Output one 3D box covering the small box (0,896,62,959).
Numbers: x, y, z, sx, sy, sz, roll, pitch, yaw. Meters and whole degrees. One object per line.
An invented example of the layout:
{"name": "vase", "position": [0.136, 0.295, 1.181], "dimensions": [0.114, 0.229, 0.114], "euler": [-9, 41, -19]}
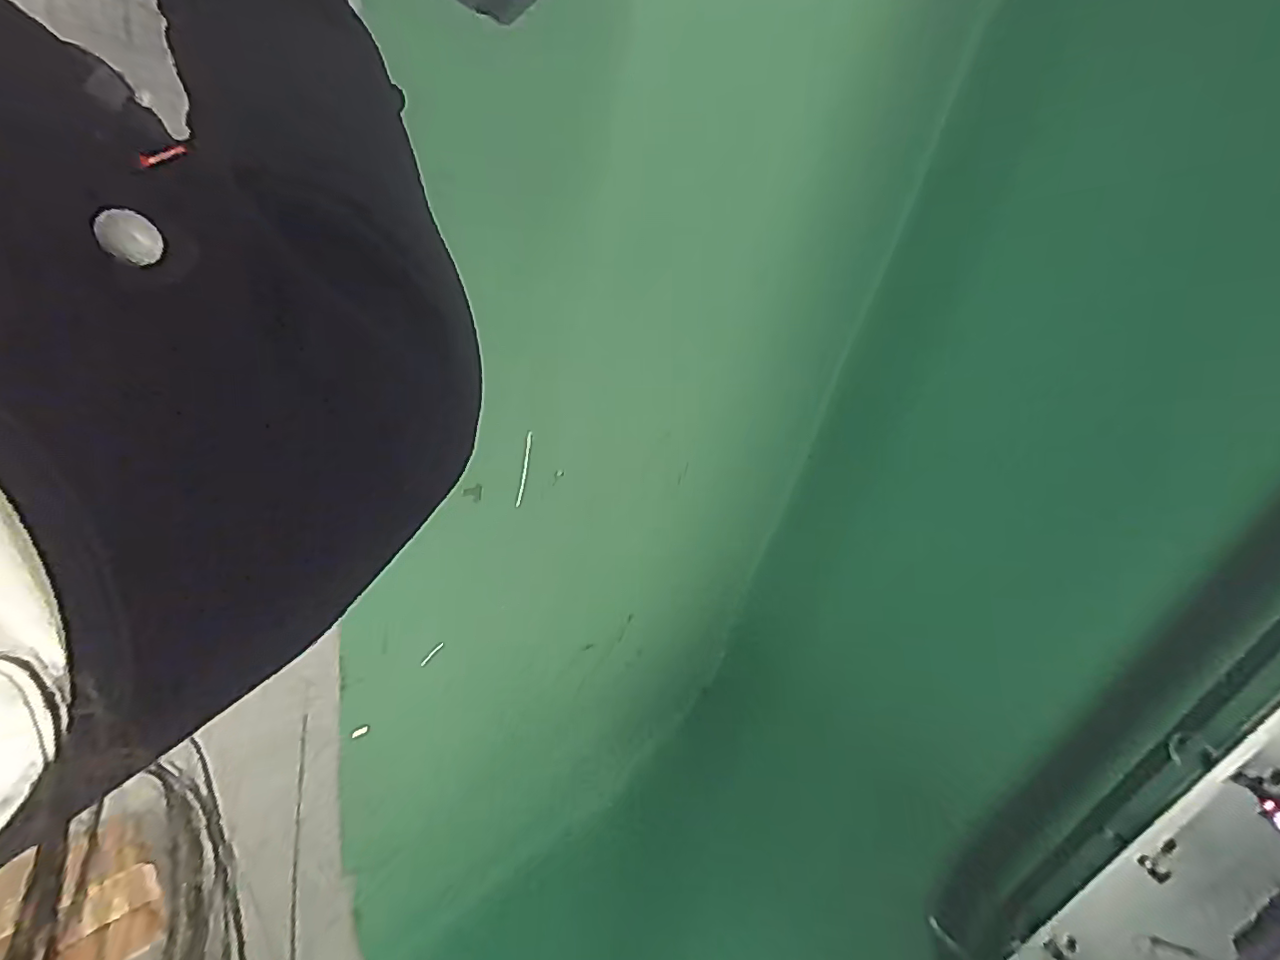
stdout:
{"name": "small box", "position": [-1.612, 1.212, 1.363], "dimensions": [0.179, 0.176, 0.168], "euler": [-18, 133, -43]}
